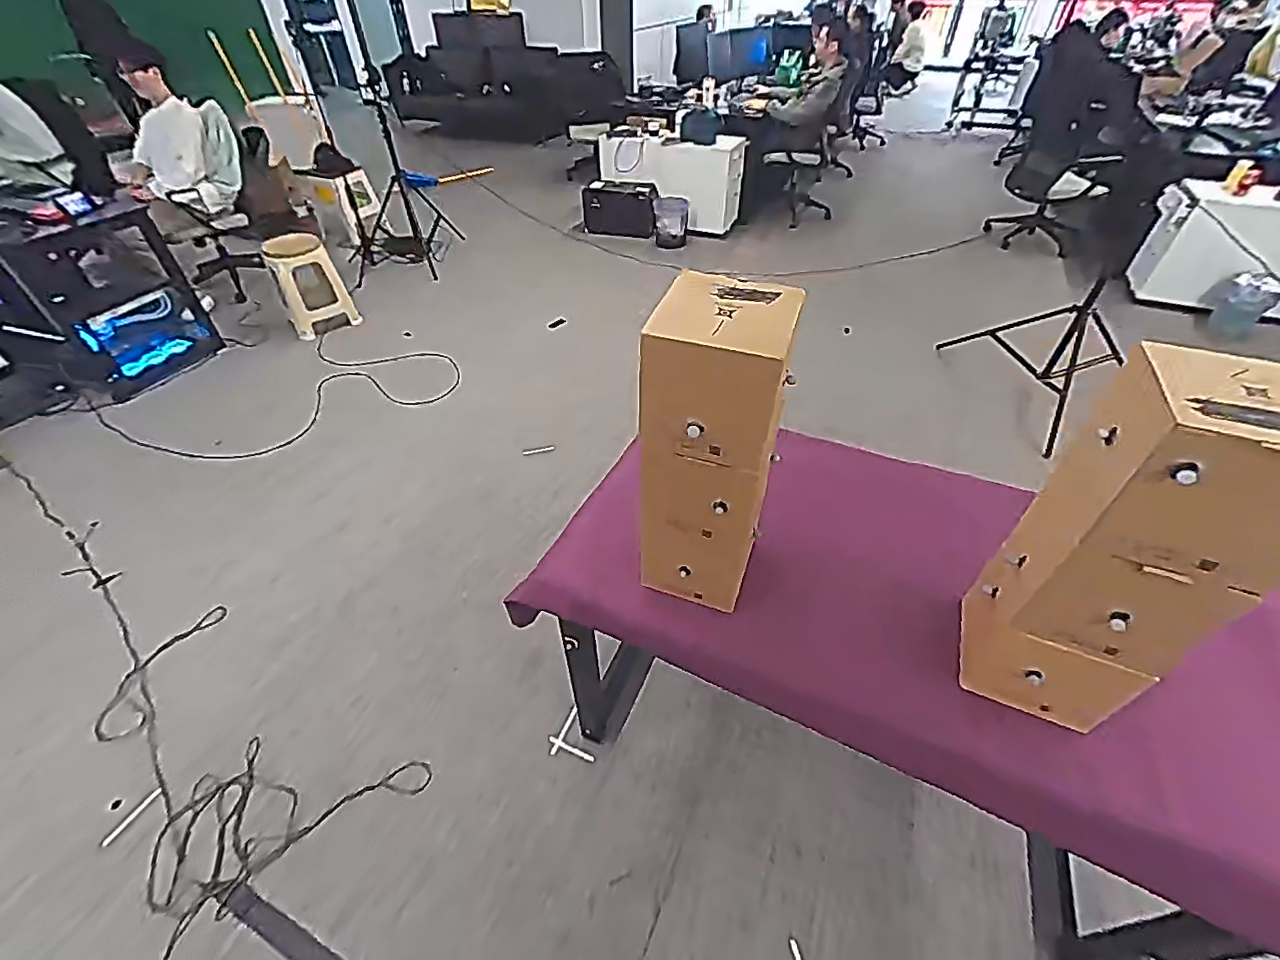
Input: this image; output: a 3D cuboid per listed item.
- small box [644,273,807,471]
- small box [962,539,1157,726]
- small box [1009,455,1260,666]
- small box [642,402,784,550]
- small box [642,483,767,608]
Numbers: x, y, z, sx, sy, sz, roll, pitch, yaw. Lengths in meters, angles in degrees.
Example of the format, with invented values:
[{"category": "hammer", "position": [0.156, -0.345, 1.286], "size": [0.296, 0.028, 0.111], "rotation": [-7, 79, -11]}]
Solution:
[{"category": "small box", "position": [0.106, -0.142, 0.701], "size": [0.168, 0.176, 0.179], "rotation": [14, 46, 14]}, {"category": "small box", "position": [0.593, 0.224, 0.791], "size": [0.168, 0.176, 0.179], "rotation": [17, 46, 18]}, {"category": "small box", "position": [0.594, 0.101, 0.682], "size": [0.168, 0.176, 0.179], "rotation": [18, 46, 19]}, {"category": "small box", "position": [0.108, -0.022, 0.814], "size": [0.168, 0.176, 0.179], "rotation": [14, 44, 13]}, {"category": "small box", "position": [0.111, 0.091, 0.931], "size": [0.168, 0.176, 0.179], "rotation": [15, 45, 15]}]
